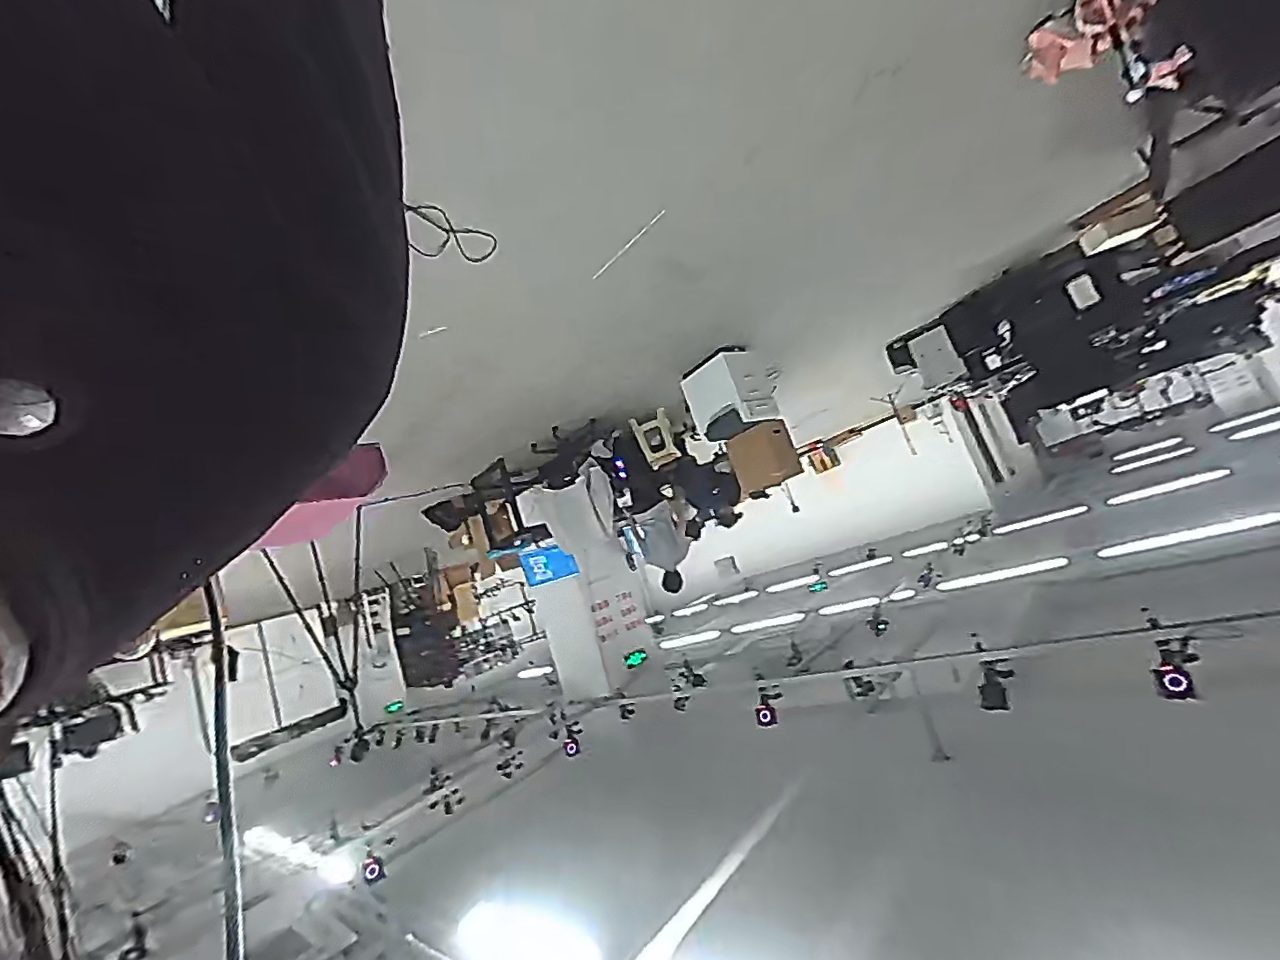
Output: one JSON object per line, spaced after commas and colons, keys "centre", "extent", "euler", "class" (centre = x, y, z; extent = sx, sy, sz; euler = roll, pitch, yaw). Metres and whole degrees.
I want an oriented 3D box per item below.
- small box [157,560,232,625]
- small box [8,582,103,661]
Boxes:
{"centre": [-1.523, 0.379, 1.842], "extent": [0.179, 0.176, 0.168], "euler": [-25, 169, 41], "class": "small box"}
{"centre": [-1.723, 0.415, 1.596], "extent": [0.168, 0.176, 0.179], "euler": [-25, 170, 42], "class": "small box"}
